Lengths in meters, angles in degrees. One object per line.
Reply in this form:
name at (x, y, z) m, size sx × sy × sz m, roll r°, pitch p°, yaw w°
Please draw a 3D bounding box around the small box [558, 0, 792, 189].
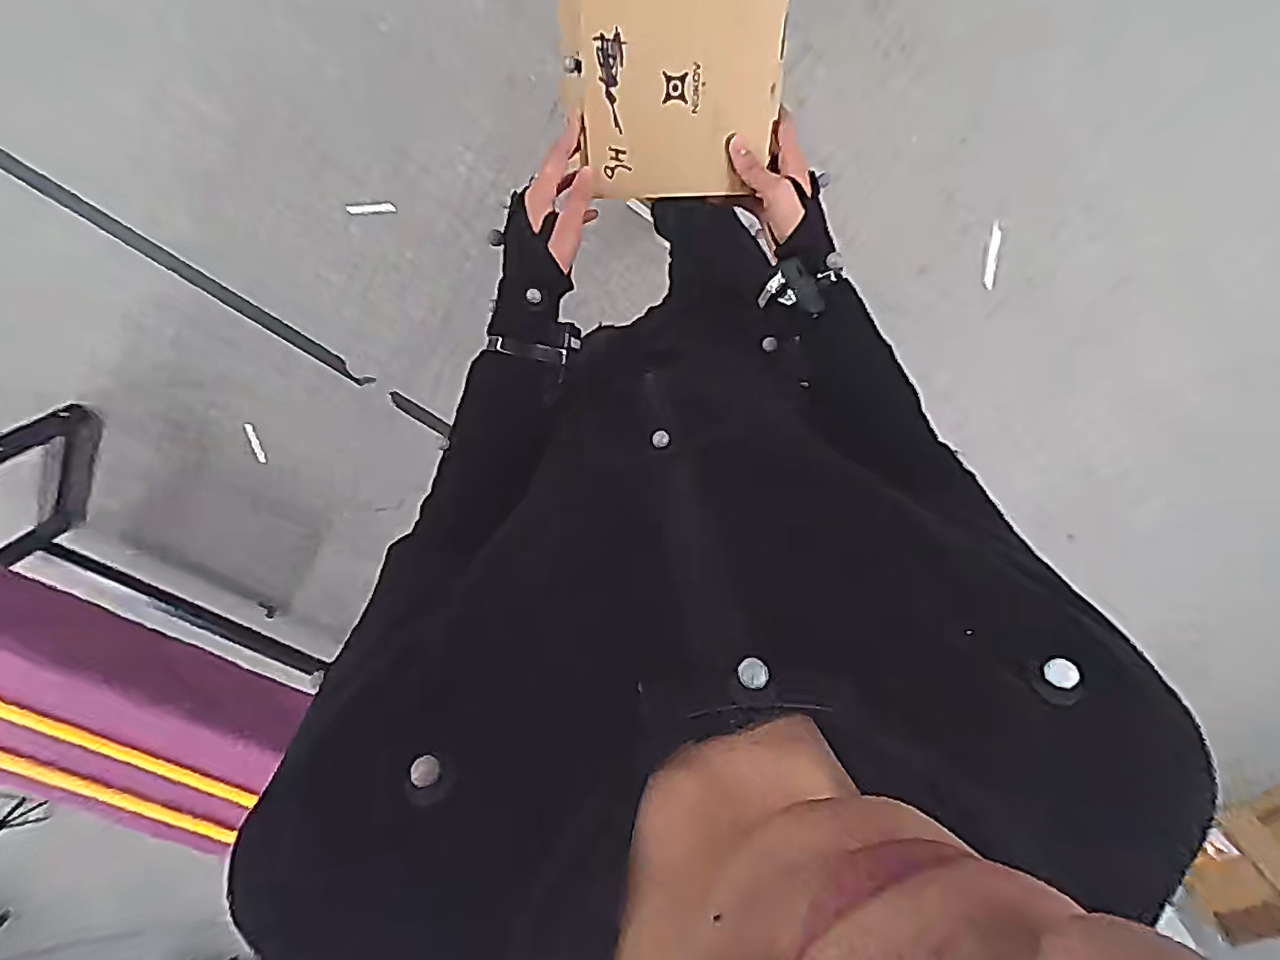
small box at (0.022, -0.383, 0.519) m, size 0.179 × 0.176 × 0.168 m, roll -7°, pitch 125°, yaw -11°
